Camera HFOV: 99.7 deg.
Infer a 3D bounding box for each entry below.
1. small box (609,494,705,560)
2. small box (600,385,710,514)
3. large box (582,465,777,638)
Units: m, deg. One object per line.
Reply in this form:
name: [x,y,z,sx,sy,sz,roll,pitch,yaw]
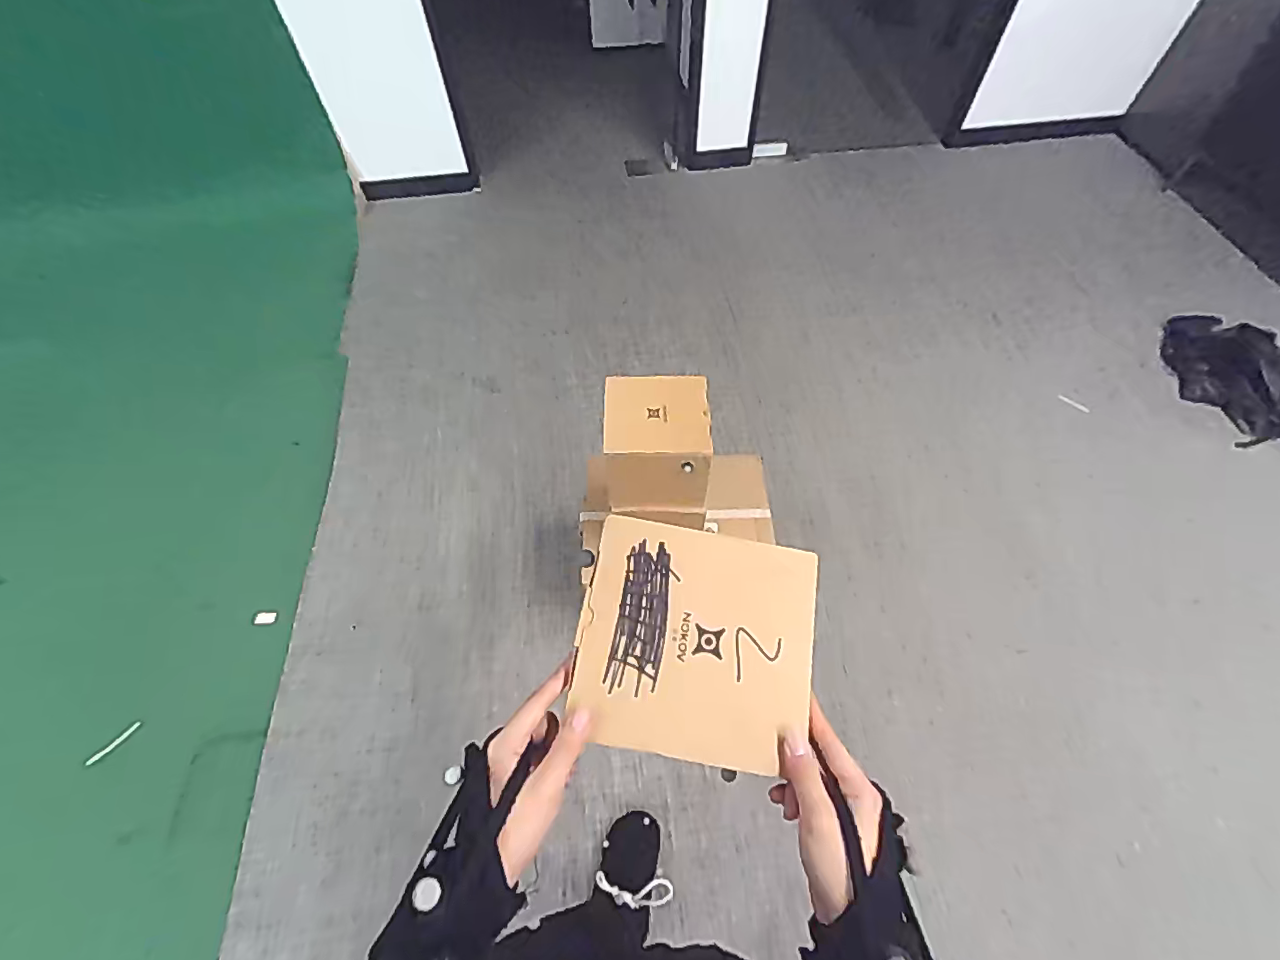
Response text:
small box: [0.031,0.051,1.080,0.179,0.176,0.168,-1,56,1]
small box: [0.024,-0.050,0.952,0.179,0.176,0.168,0,56,-1]
large box: [0.073,0.176,1.288,0.408,0.320,0.320,0,58,-1]
